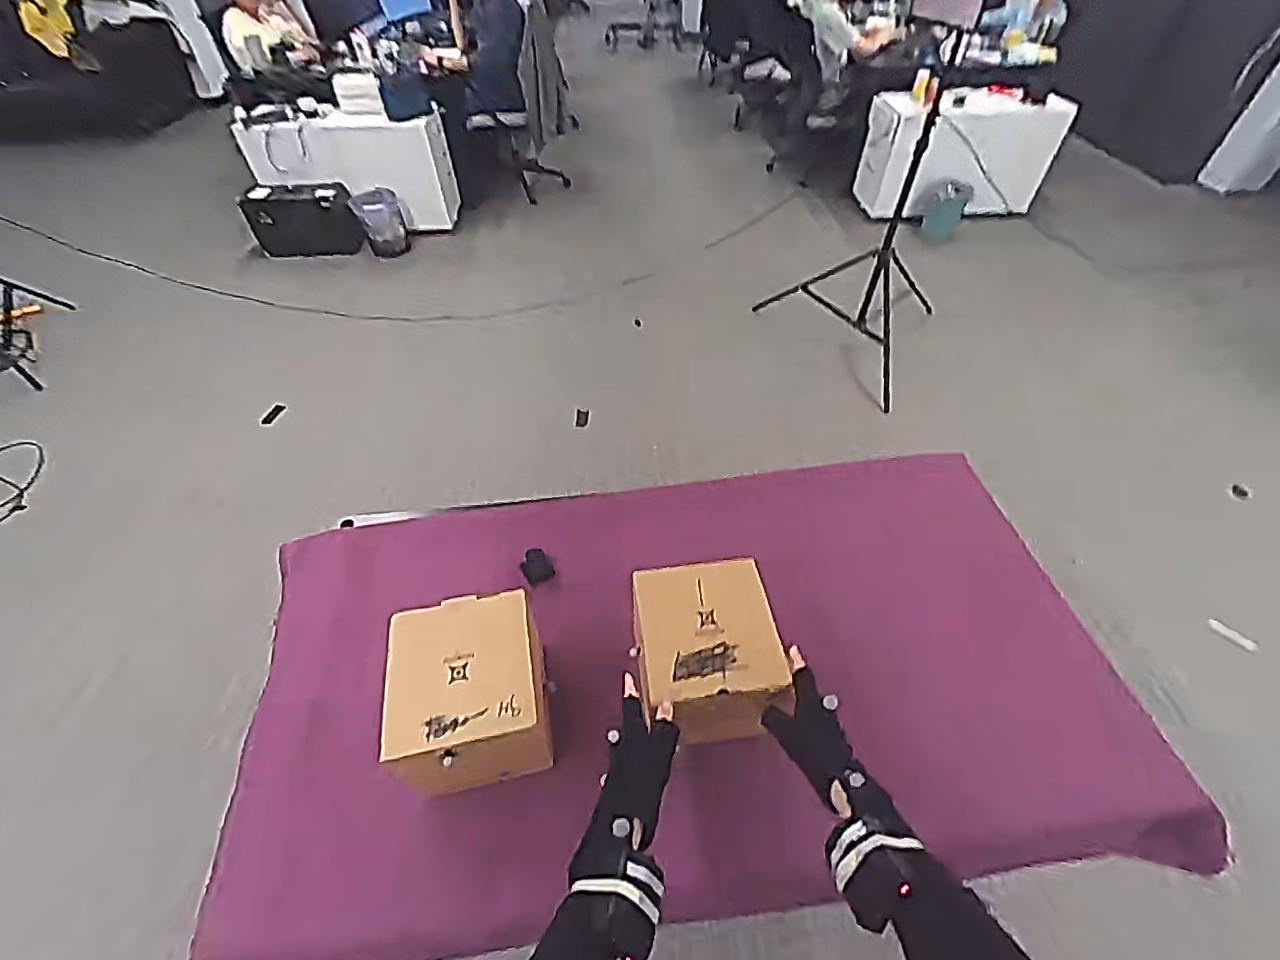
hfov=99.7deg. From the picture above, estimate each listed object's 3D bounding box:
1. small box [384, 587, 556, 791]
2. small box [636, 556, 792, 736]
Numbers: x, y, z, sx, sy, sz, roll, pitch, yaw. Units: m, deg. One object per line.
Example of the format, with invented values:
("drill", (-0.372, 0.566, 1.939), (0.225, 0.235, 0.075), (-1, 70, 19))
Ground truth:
("small box", (-0.204, 0.265, 0.689), (0.168, 0.176, 0.179), (-10, 48, -7))
("small box", (0.087, 0.227, 0.723), (0.168, 0.176, 0.179), (-5, 47, -5))
